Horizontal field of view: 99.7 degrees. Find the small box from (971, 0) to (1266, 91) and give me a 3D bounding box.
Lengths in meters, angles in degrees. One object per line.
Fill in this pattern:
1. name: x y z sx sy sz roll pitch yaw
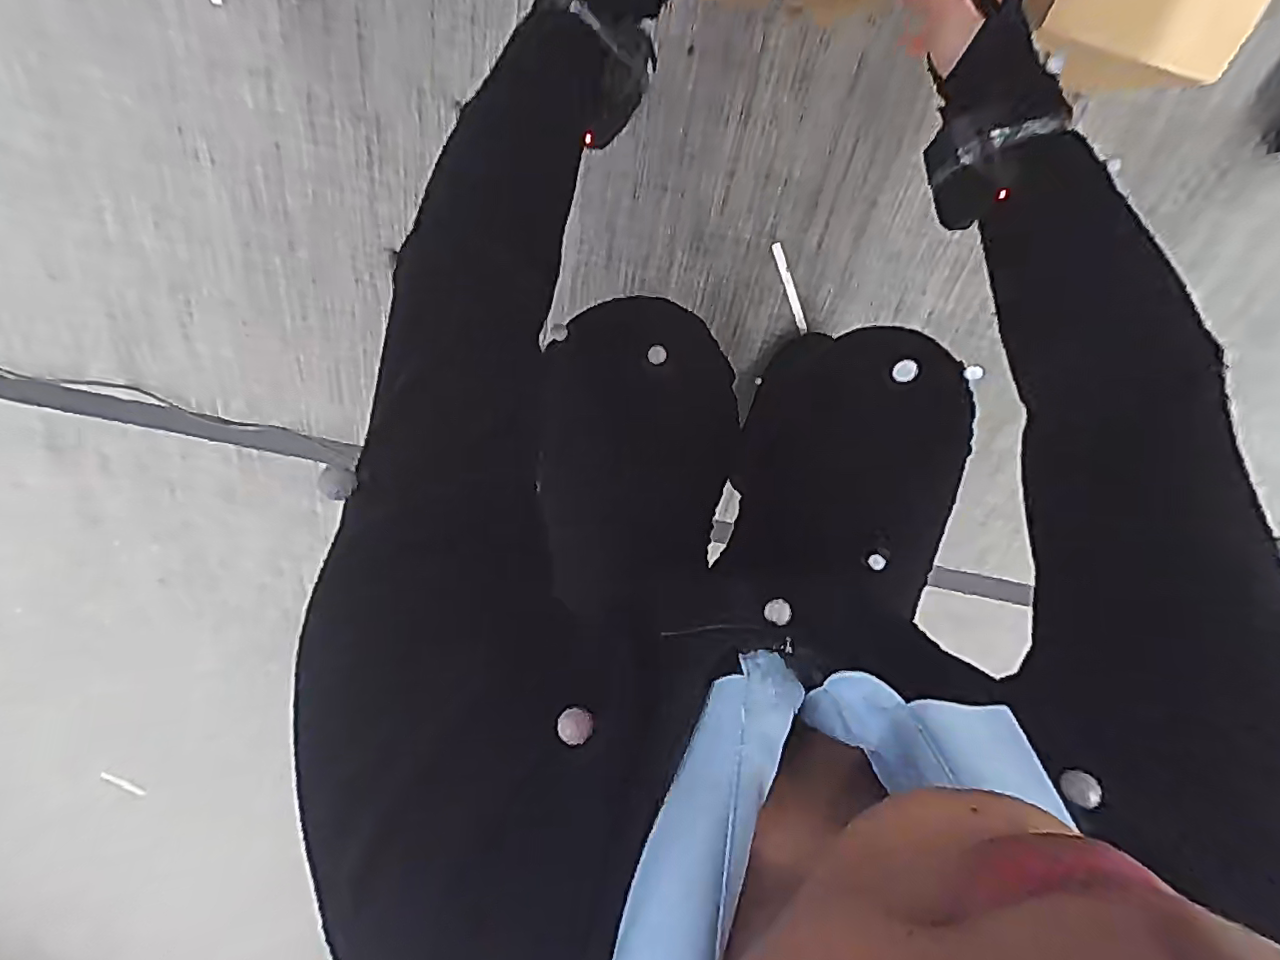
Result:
1. small box: 0.435 -0.470 0.479 0.168 0.176 0.179 14 122 -5
